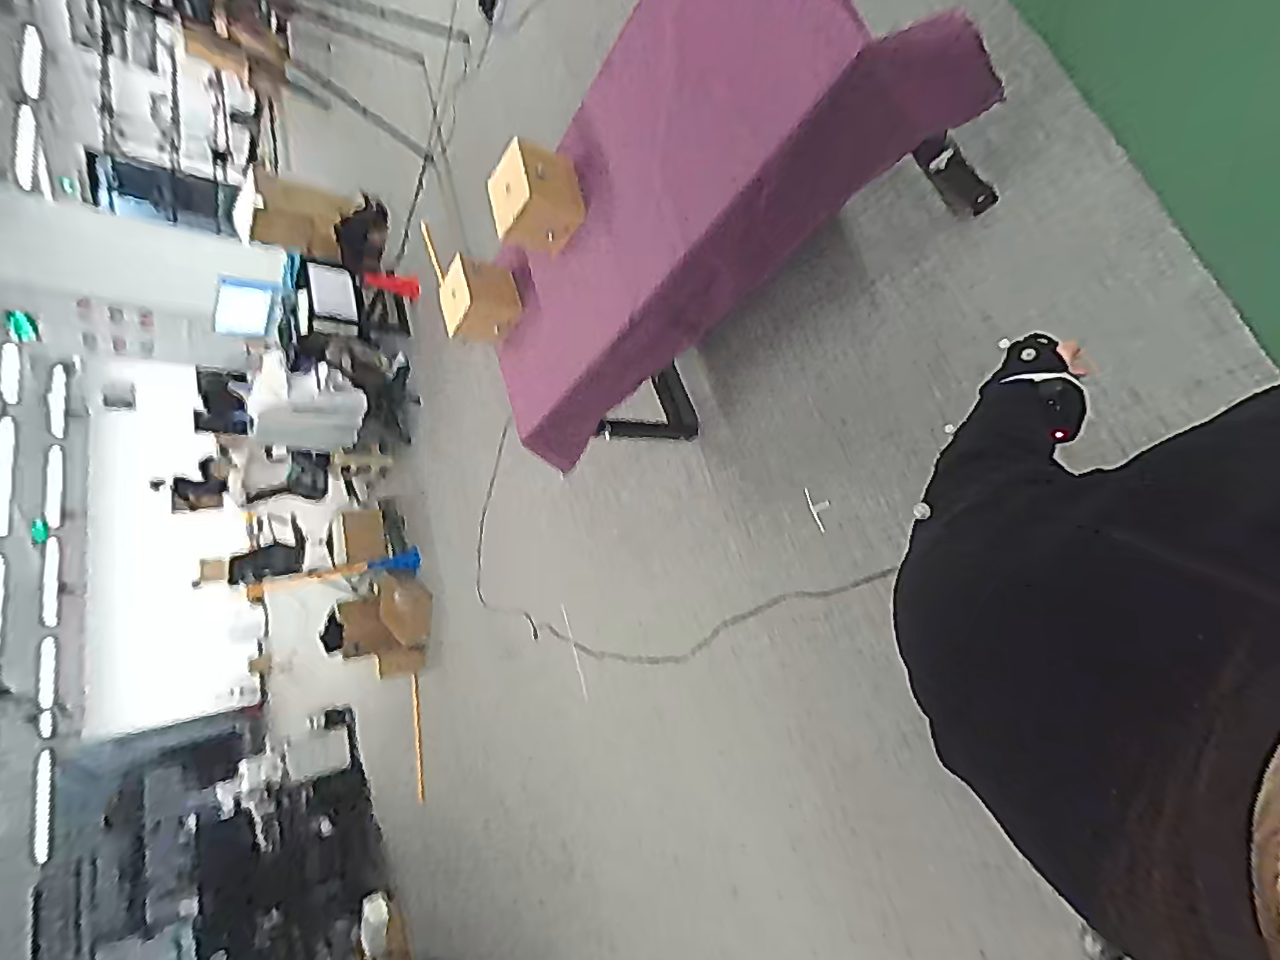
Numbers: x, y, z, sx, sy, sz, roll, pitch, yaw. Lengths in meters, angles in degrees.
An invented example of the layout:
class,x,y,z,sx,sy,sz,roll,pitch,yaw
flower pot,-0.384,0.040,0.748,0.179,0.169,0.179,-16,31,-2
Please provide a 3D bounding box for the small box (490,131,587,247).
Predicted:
class,x,y,z,sx,sy,sz,roll,pitch,yaw
small box,-0.260,-0.736,1.390,0.168,0.176,0.179,-28,72,45

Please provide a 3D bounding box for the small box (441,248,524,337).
class,x,y,z,sx,sy,sz,roll,pitch,yaw
small box,-0.474,-0.556,1.629,0.168,0.176,0.179,-37,64,42
